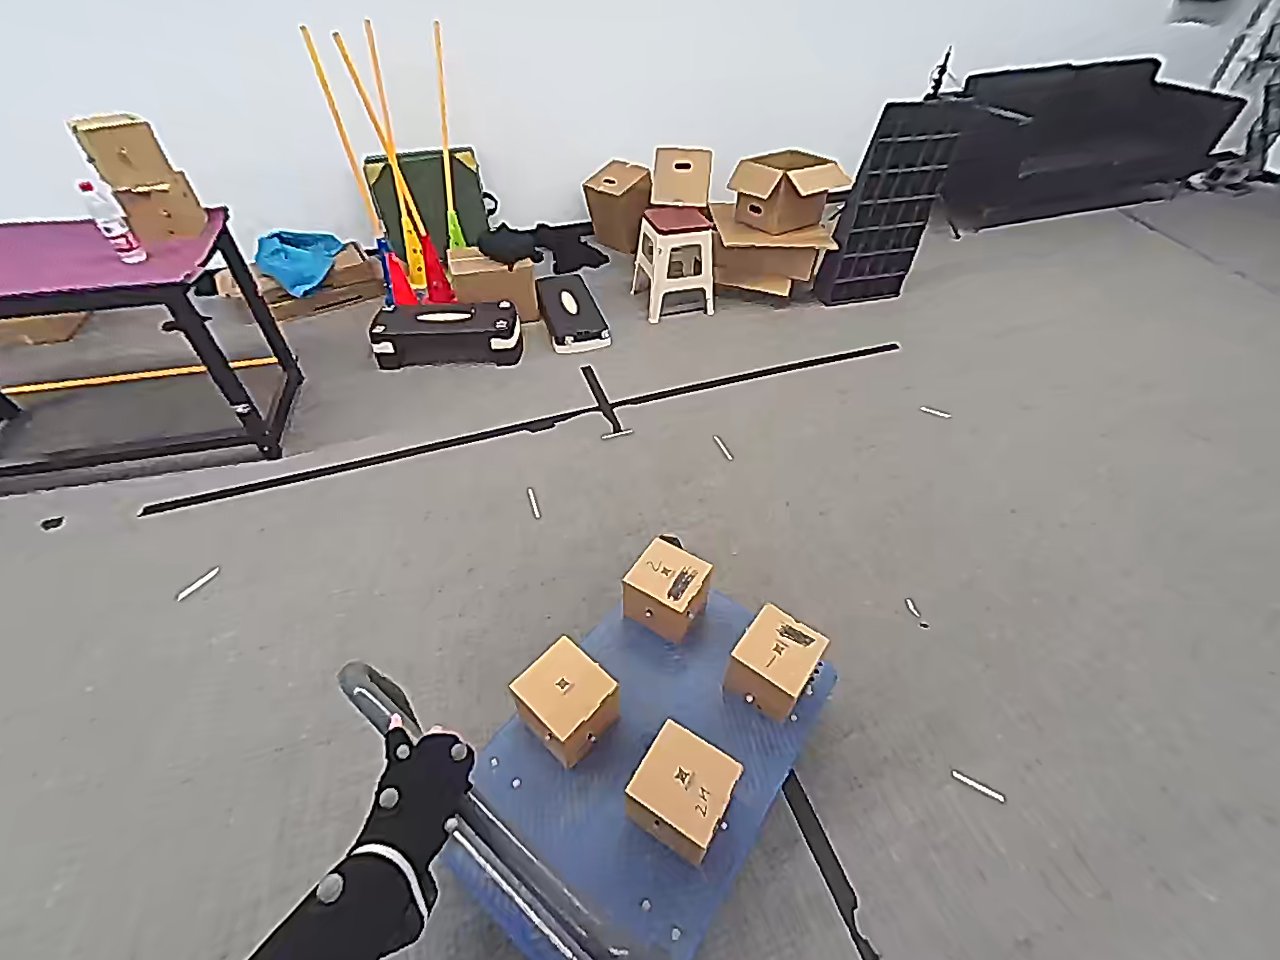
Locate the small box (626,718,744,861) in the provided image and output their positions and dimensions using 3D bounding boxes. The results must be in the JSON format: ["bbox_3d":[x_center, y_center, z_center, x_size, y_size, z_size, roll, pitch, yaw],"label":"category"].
[{"bbox_3d":[0.087,0.629,1.094,0.179,0.176,0.168,26,51,22],"label":"small box"}]

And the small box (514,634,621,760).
[{"bbox_3d":[-0.160,0.494,1.222,0.179,0.176,0.168,34,54,26],"label":"small box"}]

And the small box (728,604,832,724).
[{"bbox_3d":[0.325,0.438,1.287,0.168,0.176,0.179,30,53,25],"label":"small box"}]
